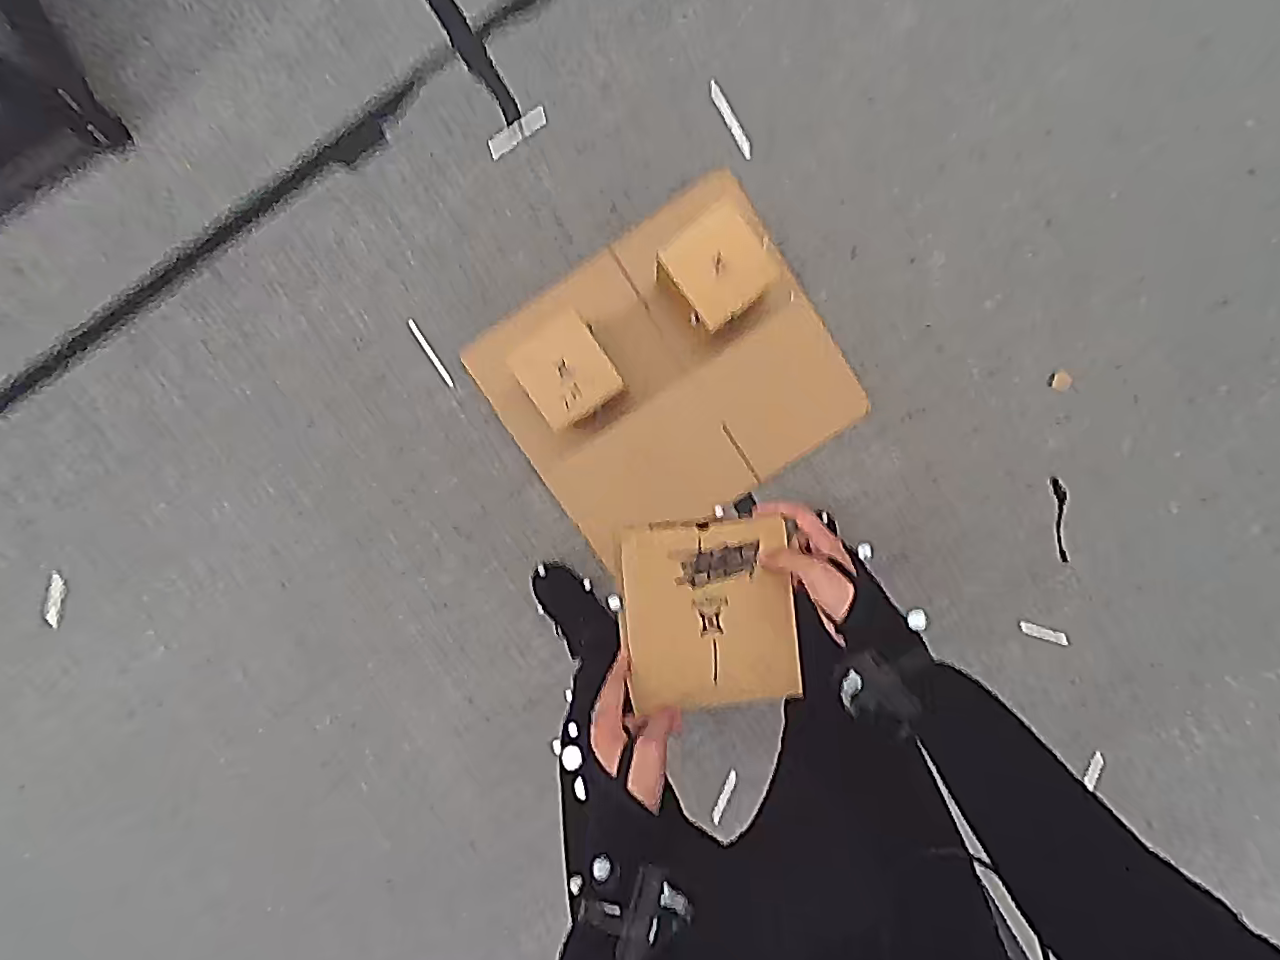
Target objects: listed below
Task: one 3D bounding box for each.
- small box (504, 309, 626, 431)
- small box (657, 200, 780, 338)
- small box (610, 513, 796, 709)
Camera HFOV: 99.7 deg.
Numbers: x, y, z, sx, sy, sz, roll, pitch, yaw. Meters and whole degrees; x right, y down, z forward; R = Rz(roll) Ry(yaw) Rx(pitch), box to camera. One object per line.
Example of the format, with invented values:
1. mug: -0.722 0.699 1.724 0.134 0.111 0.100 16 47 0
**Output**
1. small box: -0.143 -0.215 1.096 0.168 0.176 0.179 -34 96 6
2. small box: 0.144 -0.404 1.073 0.168 0.176 0.179 -37 96 5
3. small box: 0.057 0.132 0.603 0.168 0.176 0.179 -5 86 -6
